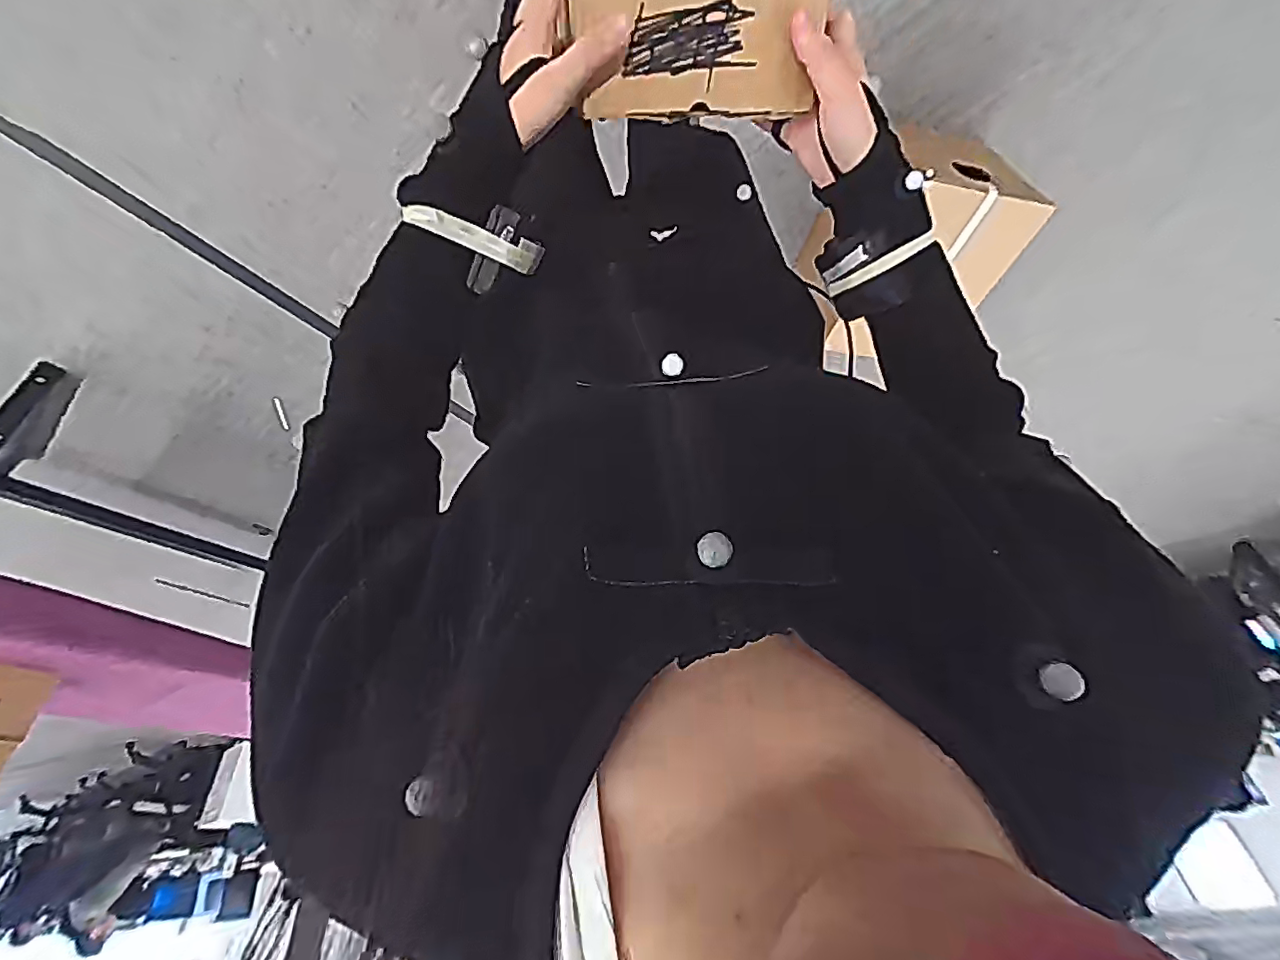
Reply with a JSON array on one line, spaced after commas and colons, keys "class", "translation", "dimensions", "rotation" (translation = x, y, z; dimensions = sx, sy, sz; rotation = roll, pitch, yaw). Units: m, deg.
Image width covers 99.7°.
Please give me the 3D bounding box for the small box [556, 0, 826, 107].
[{"class": "small box", "translation": [0.027, -0.376, 0.379], "dimensions": [0.168, 0.176, 0.179], "rotation": [-6, 129, -8]}]
